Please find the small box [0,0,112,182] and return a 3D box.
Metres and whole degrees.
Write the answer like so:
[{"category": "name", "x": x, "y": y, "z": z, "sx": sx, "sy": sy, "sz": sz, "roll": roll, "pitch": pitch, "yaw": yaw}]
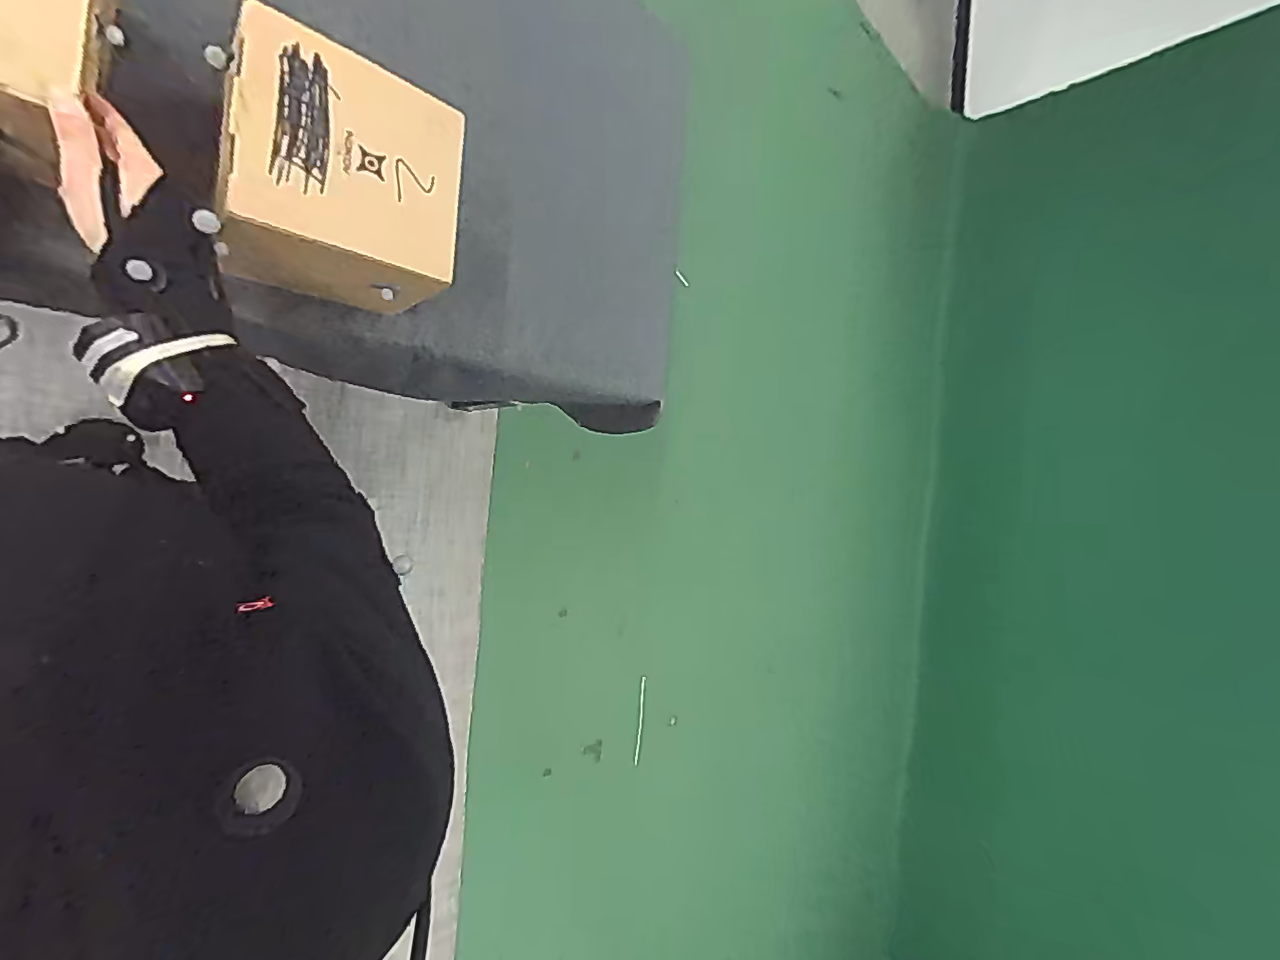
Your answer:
[{"category": "small box", "x": -0.468, "y": -0.334, "z": 0.353, "sx": 0.168, "sy": 0.176, "sz": 0.179, "roll": 6, "pitch": 88, "yaw": -44}]
